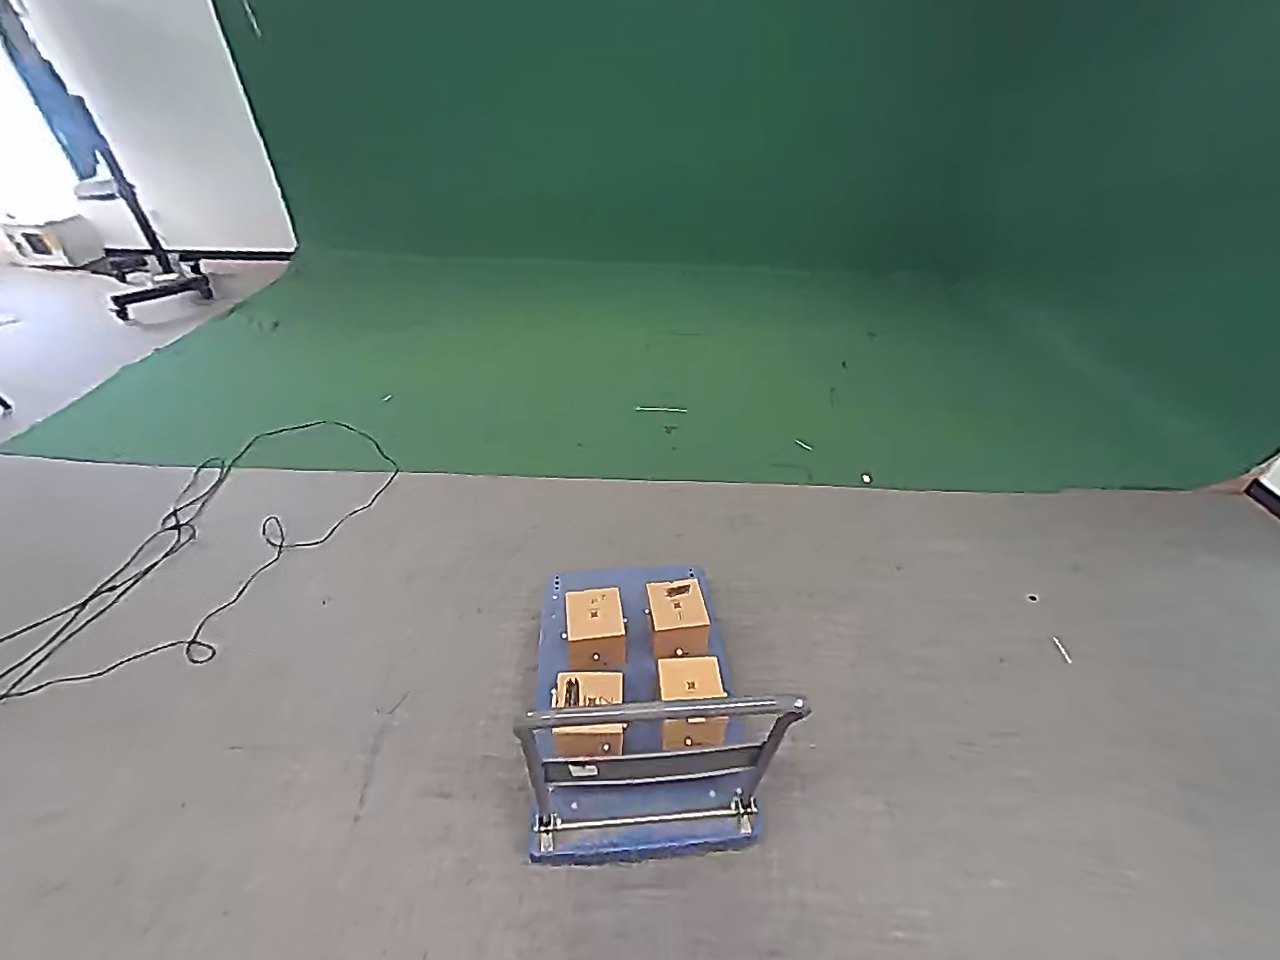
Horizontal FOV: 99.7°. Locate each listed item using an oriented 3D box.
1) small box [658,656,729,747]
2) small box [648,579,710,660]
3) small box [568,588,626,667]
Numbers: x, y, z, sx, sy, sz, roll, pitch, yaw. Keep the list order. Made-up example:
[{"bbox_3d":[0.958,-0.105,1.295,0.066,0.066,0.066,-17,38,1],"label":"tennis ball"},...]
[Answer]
[{"bbox_3d":[0.140,0.613,1.496,0.168,0.176,0.179,-2,40,-4],"label":"small box"},{"bbox_3d":[0.116,0.439,1.702,0.168,0.176,0.179,-5,41,-6],"label":"small box"},{"bbox_3d":[-0.133,0.461,1.669,0.168,0.176,0.179,-4,40,-8],"label":"small box"}]
